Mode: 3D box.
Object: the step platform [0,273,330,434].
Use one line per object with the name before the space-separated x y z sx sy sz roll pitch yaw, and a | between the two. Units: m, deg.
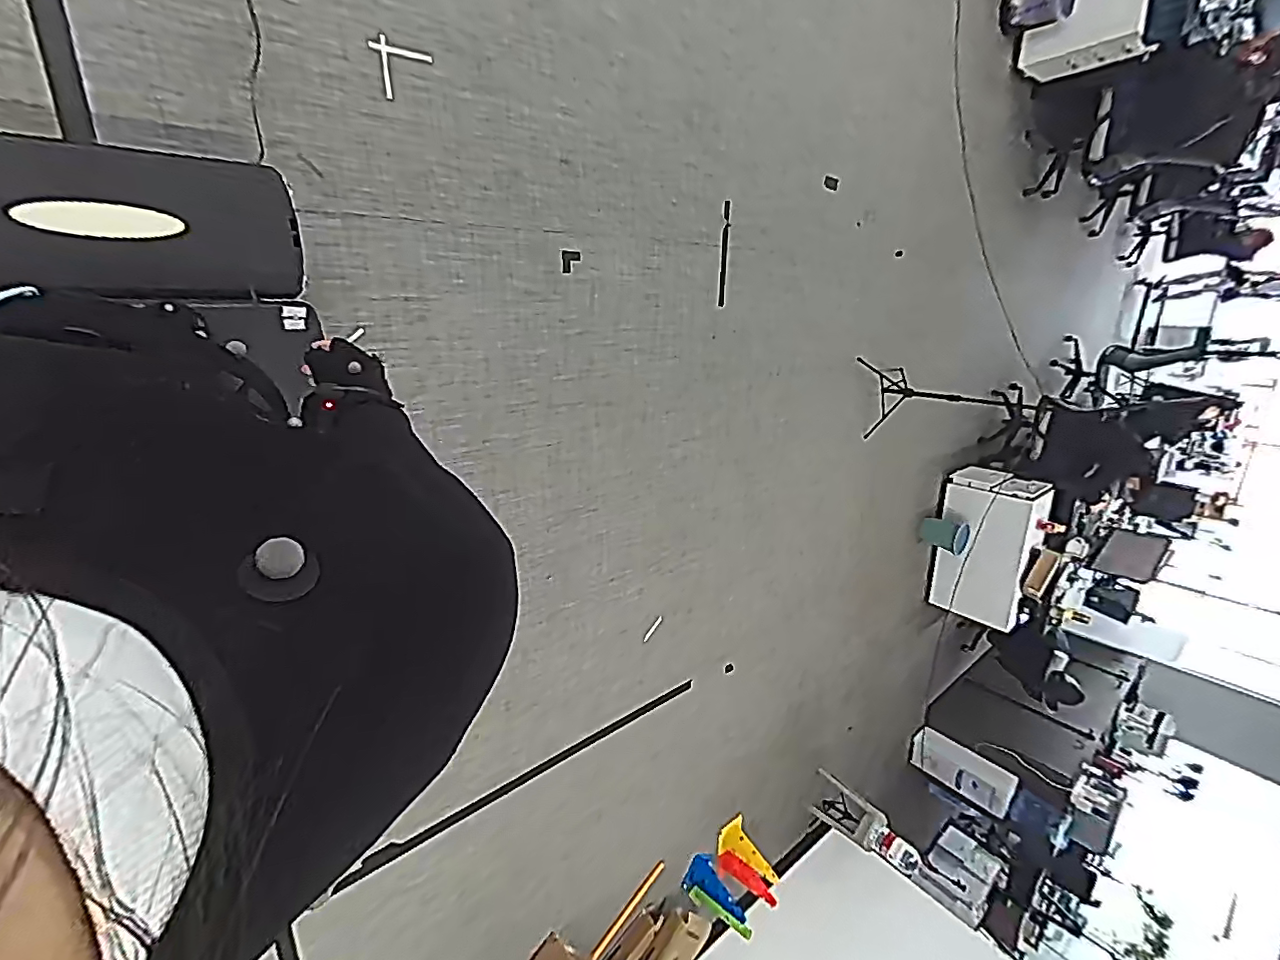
step platform | -1.041 -0.273 1.128 0.684 0.204 0.286 -14 112 -35
